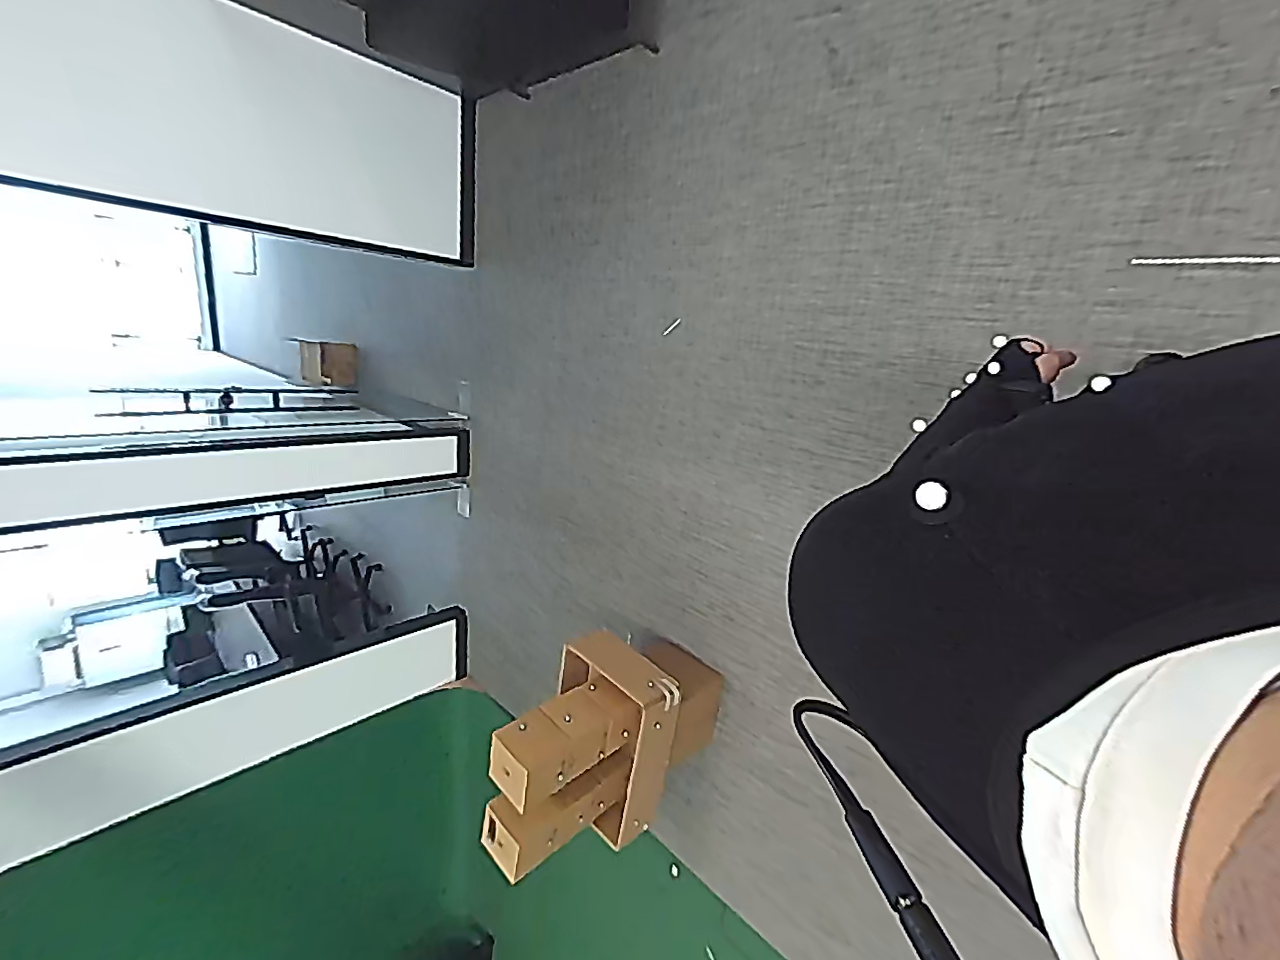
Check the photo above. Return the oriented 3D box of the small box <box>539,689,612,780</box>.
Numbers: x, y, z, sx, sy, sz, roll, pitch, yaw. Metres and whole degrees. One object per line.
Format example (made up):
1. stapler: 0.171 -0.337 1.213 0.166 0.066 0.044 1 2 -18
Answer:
1. small box: -0.211 0.808 1.738 0.179 0.176 0.168 24 113 39

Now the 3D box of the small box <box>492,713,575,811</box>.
1. small box: -0.319 0.829 1.618 0.179 0.176 0.168 25 114 38

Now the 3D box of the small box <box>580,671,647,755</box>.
1. small box: -0.098 0.789 1.856 0.179 0.176 0.168 25 114 39

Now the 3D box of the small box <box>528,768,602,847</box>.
1. small box: -0.252 1.068 1.817 0.179 0.176 0.168 26 112 38
